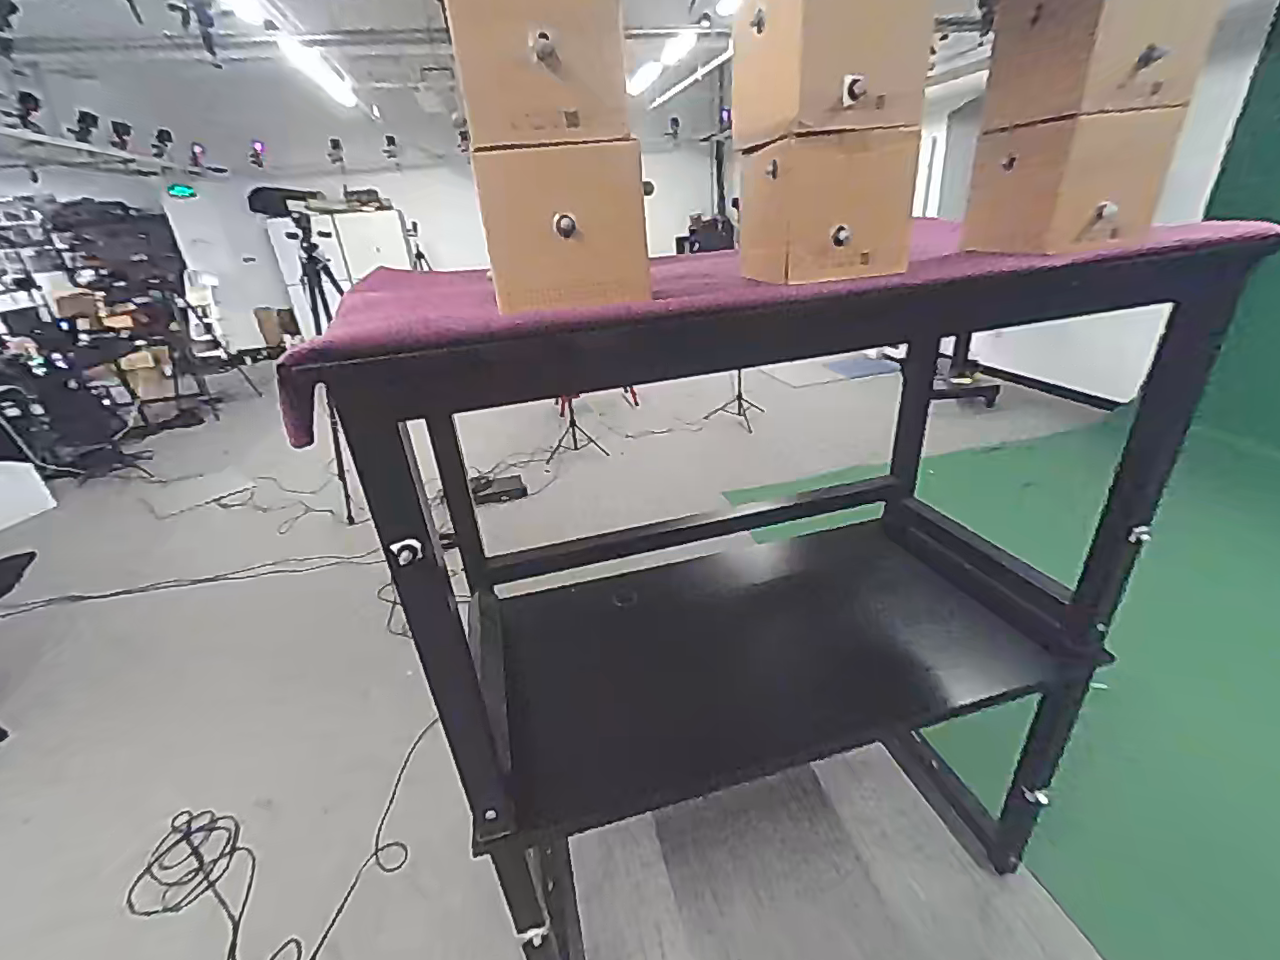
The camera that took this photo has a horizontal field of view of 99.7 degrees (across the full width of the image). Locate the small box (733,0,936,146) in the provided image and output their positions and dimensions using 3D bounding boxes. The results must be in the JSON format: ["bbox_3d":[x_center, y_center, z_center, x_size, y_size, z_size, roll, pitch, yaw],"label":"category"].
[{"bbox_3d":[0.220,-0.508,0.649,0.168,0.176,0.179,-12,28,-11],"label":"small box"}]

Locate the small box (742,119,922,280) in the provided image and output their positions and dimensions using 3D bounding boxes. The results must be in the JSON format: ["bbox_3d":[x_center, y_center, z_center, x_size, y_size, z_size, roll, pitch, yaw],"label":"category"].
[{"bbox_3d":[0.240,-0.366,0.724,0.168,0.176,0.179,-9,26,-7],"label":"small box"}]

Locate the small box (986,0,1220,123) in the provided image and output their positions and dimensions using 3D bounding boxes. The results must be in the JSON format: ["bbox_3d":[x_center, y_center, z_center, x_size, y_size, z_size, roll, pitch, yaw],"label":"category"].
[{"bbox_3d":[0.599,-0.583,0.714,0.168,0.176,0.179,-10,27,-6],"label":"small box"}]

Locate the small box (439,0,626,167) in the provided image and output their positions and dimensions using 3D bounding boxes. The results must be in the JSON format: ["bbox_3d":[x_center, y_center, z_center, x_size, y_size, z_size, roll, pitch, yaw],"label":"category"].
[{"bbox_3d":[-0.117,-0.451,0.587,0.168,0.176,0.179,-11,26,-10],"label":"small box"}]

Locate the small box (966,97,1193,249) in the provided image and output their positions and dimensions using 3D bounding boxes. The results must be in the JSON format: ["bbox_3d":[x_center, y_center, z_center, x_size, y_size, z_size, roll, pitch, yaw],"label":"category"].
[{"bbox_3d":[0.614,-0.436,0.786,0.168,0.176,0.179,-9,28,-6],"label":"small box"}]
